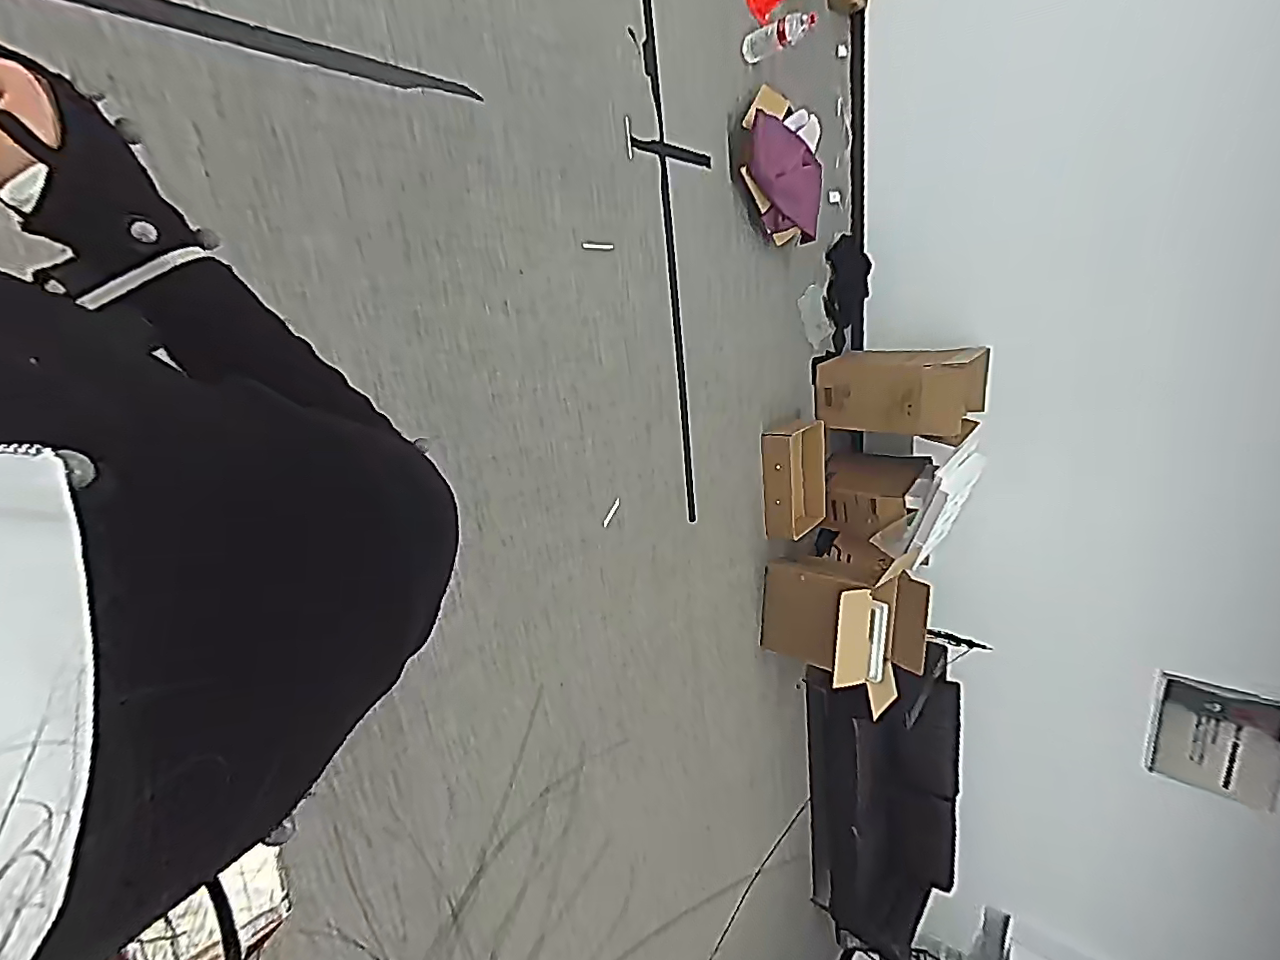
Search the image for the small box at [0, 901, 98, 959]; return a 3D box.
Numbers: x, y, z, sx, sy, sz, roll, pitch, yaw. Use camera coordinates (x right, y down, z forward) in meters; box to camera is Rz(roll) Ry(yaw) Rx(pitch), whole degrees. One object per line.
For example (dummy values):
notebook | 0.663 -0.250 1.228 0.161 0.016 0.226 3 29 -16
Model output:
small box | -0.823 0.710 0.691 0.179 0.176 0.168 -17 108 -44
